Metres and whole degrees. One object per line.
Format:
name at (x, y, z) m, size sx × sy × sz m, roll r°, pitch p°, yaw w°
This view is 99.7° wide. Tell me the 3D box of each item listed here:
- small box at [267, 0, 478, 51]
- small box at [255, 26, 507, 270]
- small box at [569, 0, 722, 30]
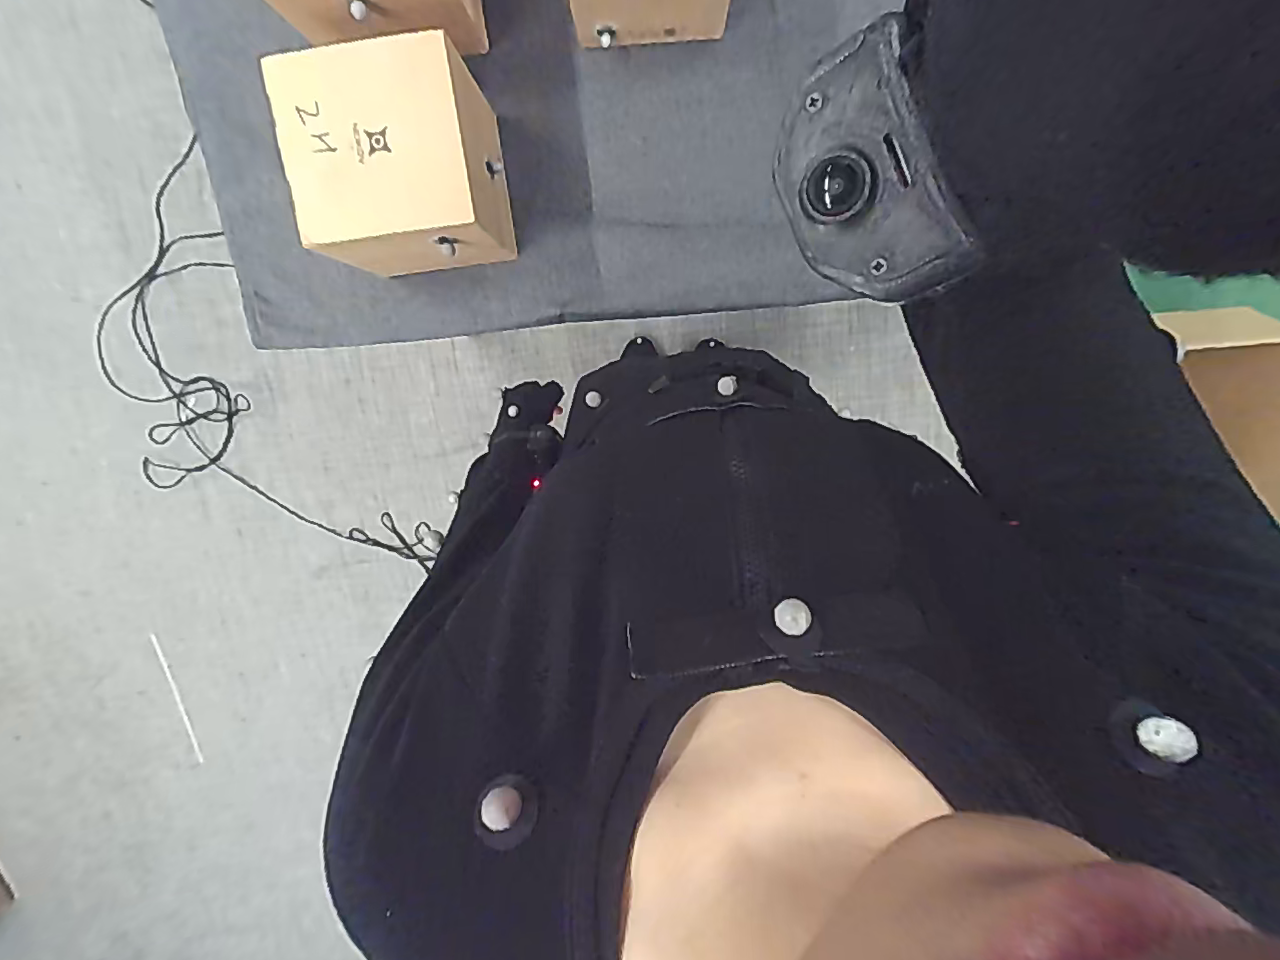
small box at (-0.274, -0.551, 0.534) m, size 0.179 × 0.176 × 0.168 m, roll -7°, pitch 103°, yaw 5°
small box at (-0.252, -0.333, 0.578) m, size 0.179 × 0.176 × 0.168 m, roll -7°, pitch 101°, yaw 3°
small box at (0.002, -0.571, 0.517) m, size 0.168 × 0.176 × 0.179 m, roll -2°, pitch 102°, yaw 3°
